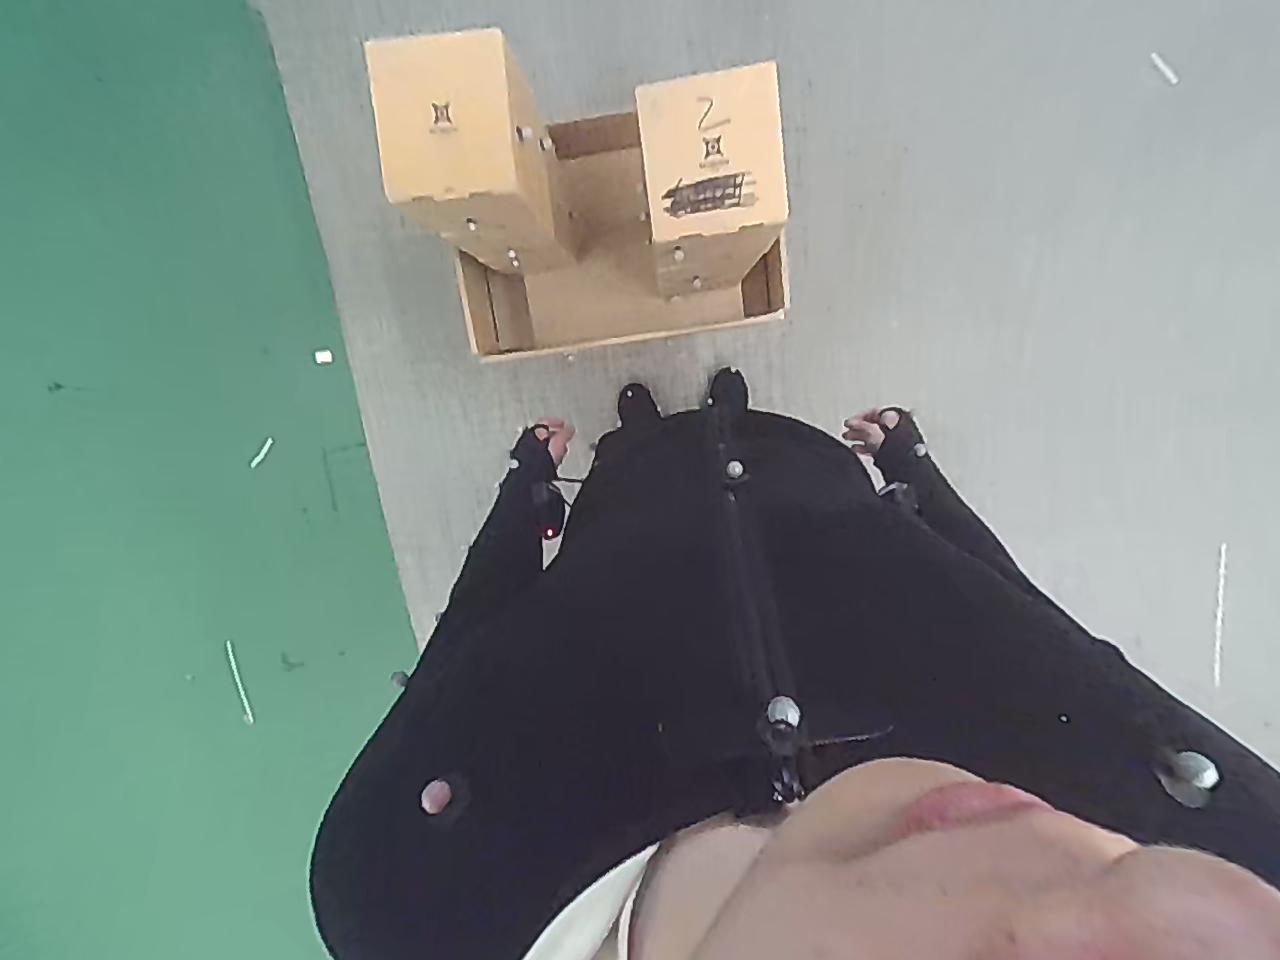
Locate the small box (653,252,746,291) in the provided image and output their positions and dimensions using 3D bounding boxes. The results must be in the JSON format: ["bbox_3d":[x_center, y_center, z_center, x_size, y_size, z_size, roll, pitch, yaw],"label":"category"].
[{"bbox_3d":[0.106,-0.467,1.033,0.168,0.176,0.179,-8,100,4],"label":"small box"}]

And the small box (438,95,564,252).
[{"bbox_3d":[-0.225,-0.485,0.877,0.168,0.176,0.179,-3,101,4],"label":"small box"}]

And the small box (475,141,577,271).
[{"bbox_3d":[-0.220,-0.516,1.038,0.168,0.176,0.179,-5,101,3],"label":"small box"}]

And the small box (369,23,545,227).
[{"bbox_3d":[-0.228,-0.454,0.718,0.168,0.176,0.179,-2,102,3],"label":"small box"}]

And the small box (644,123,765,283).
[{"bbox_3d":[0.098,-0.434,0.874,0.168,0.176,0.179,-8,101,4],"label":"small box"}]
